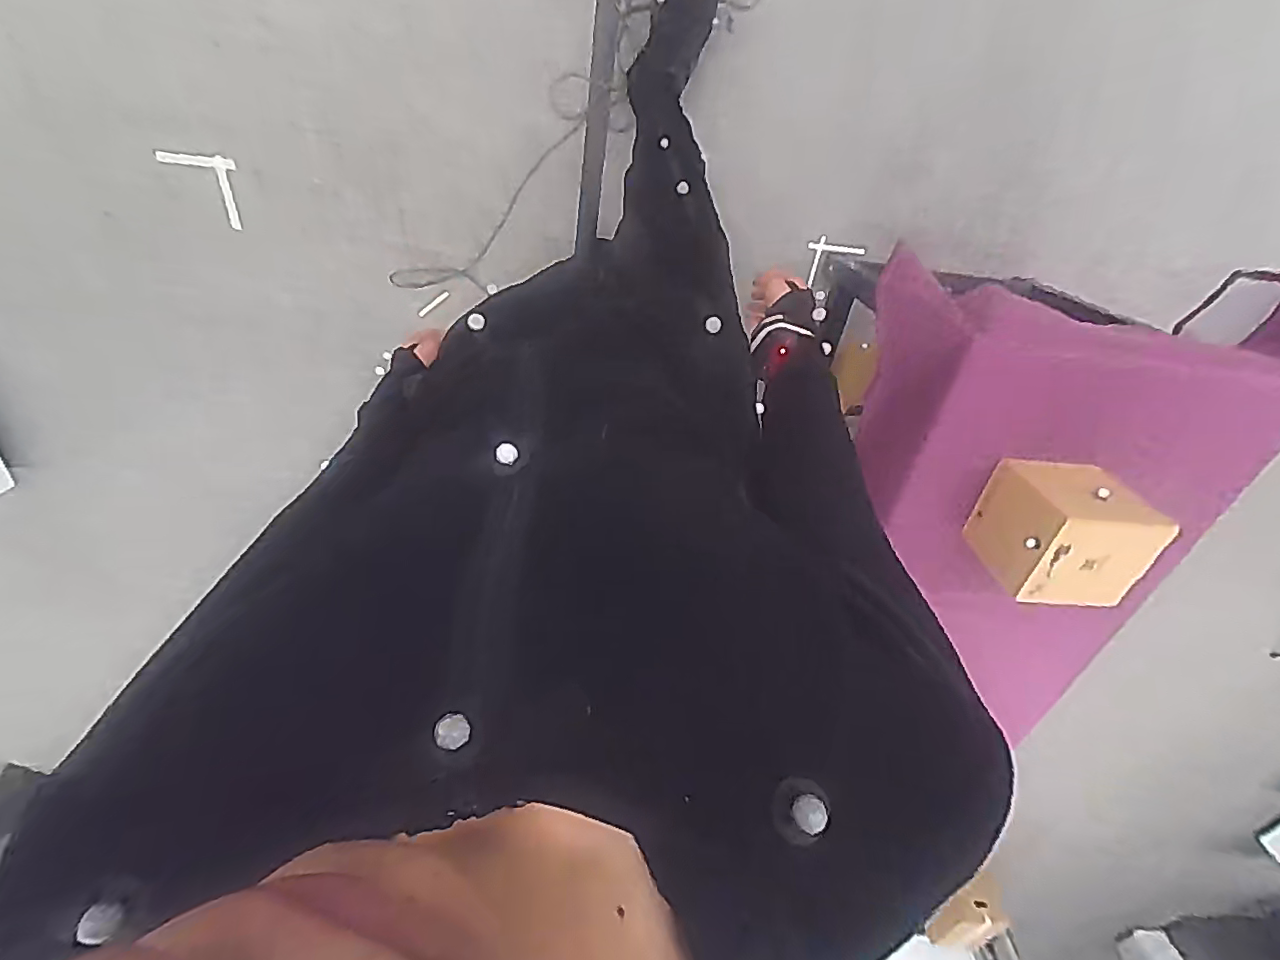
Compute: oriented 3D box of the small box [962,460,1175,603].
[{"bbox_3d":[0.680,0.080,0.884,0.179,0.176,0.168,4,123,-5],"label":"small box"}]
